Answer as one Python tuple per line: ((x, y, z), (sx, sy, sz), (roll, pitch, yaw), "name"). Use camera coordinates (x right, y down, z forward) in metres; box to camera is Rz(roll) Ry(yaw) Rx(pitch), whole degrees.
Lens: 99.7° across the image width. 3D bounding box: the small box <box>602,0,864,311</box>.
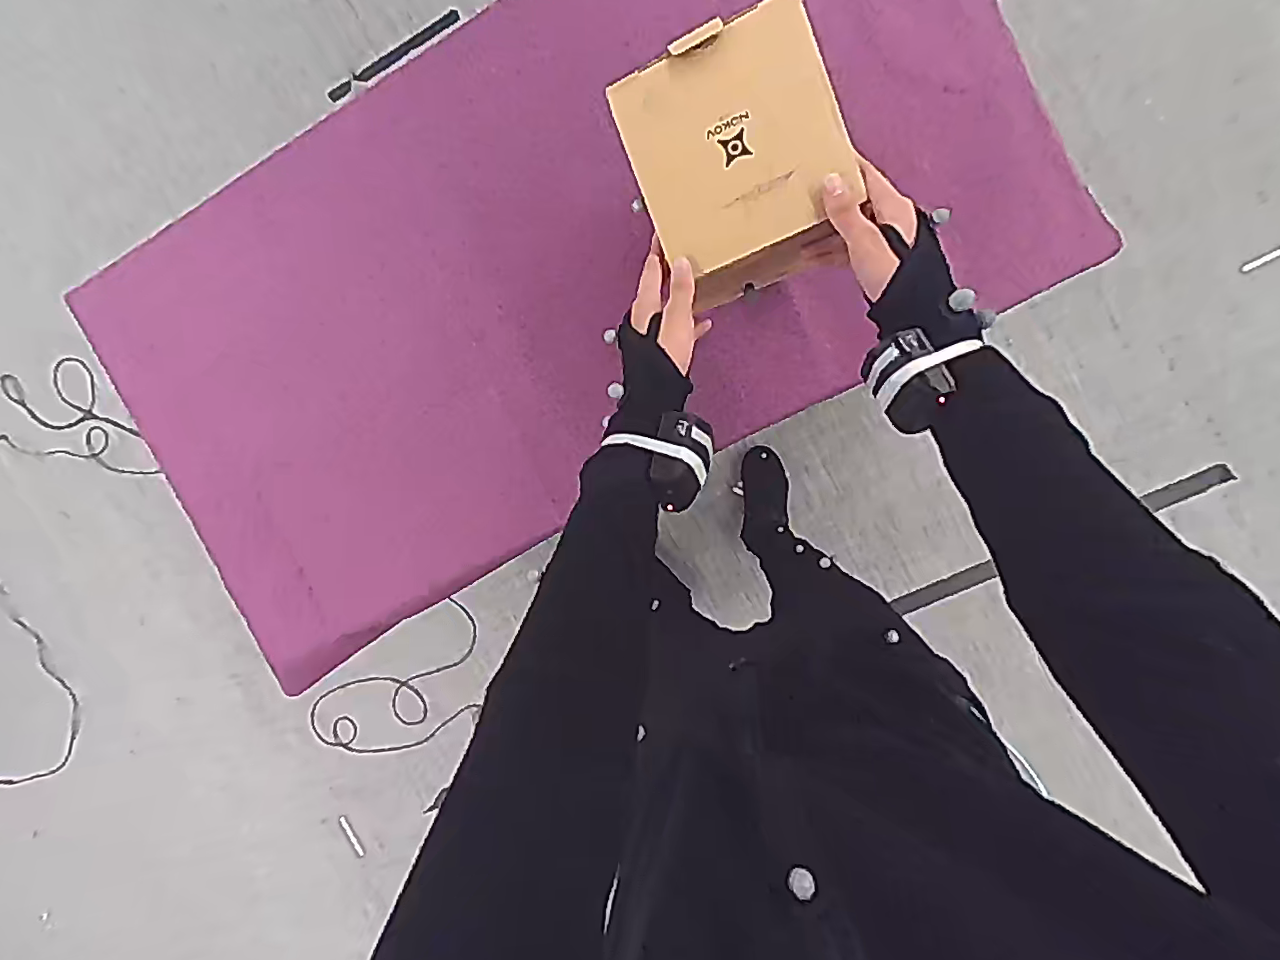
((0.084, -0.281, 0.506), (0.168, 0.176, 0.179), (-20, 94, 13), "small box")
